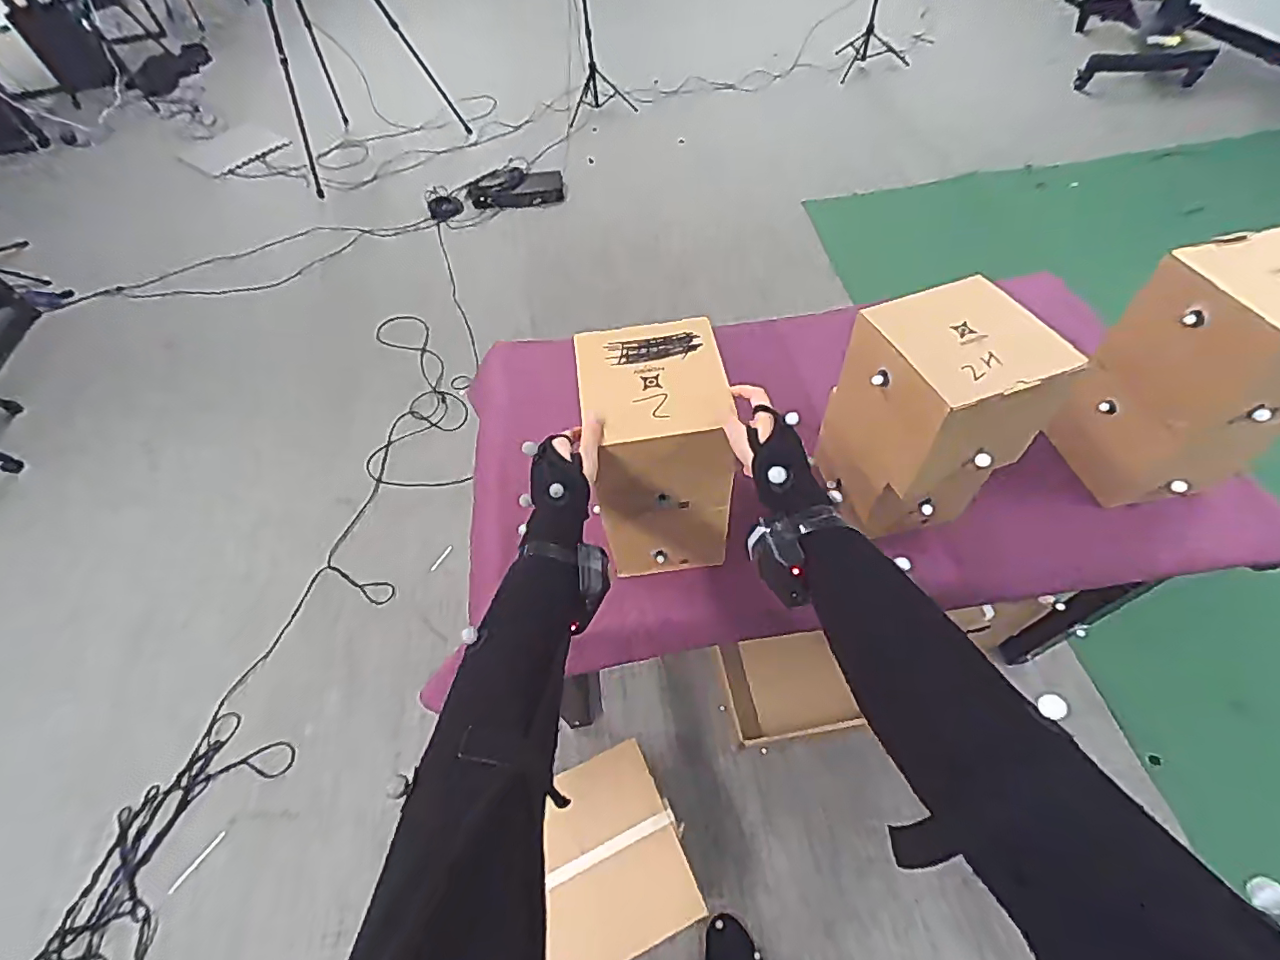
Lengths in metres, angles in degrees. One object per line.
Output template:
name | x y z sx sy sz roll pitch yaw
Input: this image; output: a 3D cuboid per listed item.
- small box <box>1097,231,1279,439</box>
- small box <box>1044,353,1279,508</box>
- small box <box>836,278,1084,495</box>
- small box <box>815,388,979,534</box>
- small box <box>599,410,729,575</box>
small box | 0.742 -0.178 0.678 0.168 0.176 0.179 -12 53 -1
small box | 0.762 -0.082 0.808 0.168 0.176 0.179 -9 54 0
small box | 0.367 -0.112 0.665 0.168 0.176 0.179 -18 54 -6
small box | 0.383 -0.035 0.813 0.168 0.176 0.179 -12 54 -3
small box | 0.032 0.021 0.809 0.168 0.176 0.179 -7 55 0
